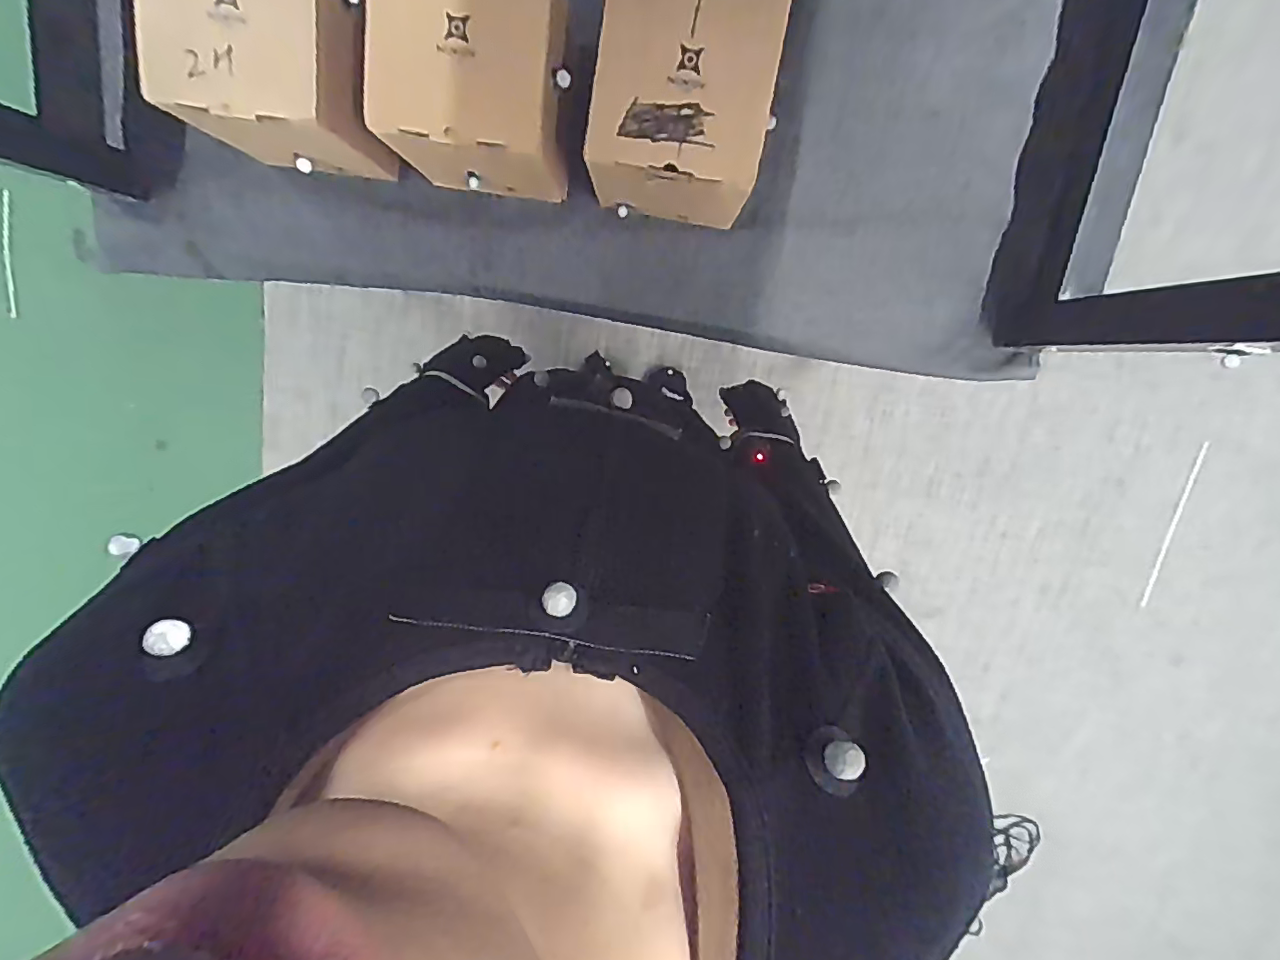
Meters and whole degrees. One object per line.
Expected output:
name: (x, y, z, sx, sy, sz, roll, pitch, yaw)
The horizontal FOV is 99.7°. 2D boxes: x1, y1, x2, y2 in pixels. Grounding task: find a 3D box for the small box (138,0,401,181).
small box: (-0.368, -0.444, 0.565, 0.168, 0.176, 0.179, 7, 102, -1)
